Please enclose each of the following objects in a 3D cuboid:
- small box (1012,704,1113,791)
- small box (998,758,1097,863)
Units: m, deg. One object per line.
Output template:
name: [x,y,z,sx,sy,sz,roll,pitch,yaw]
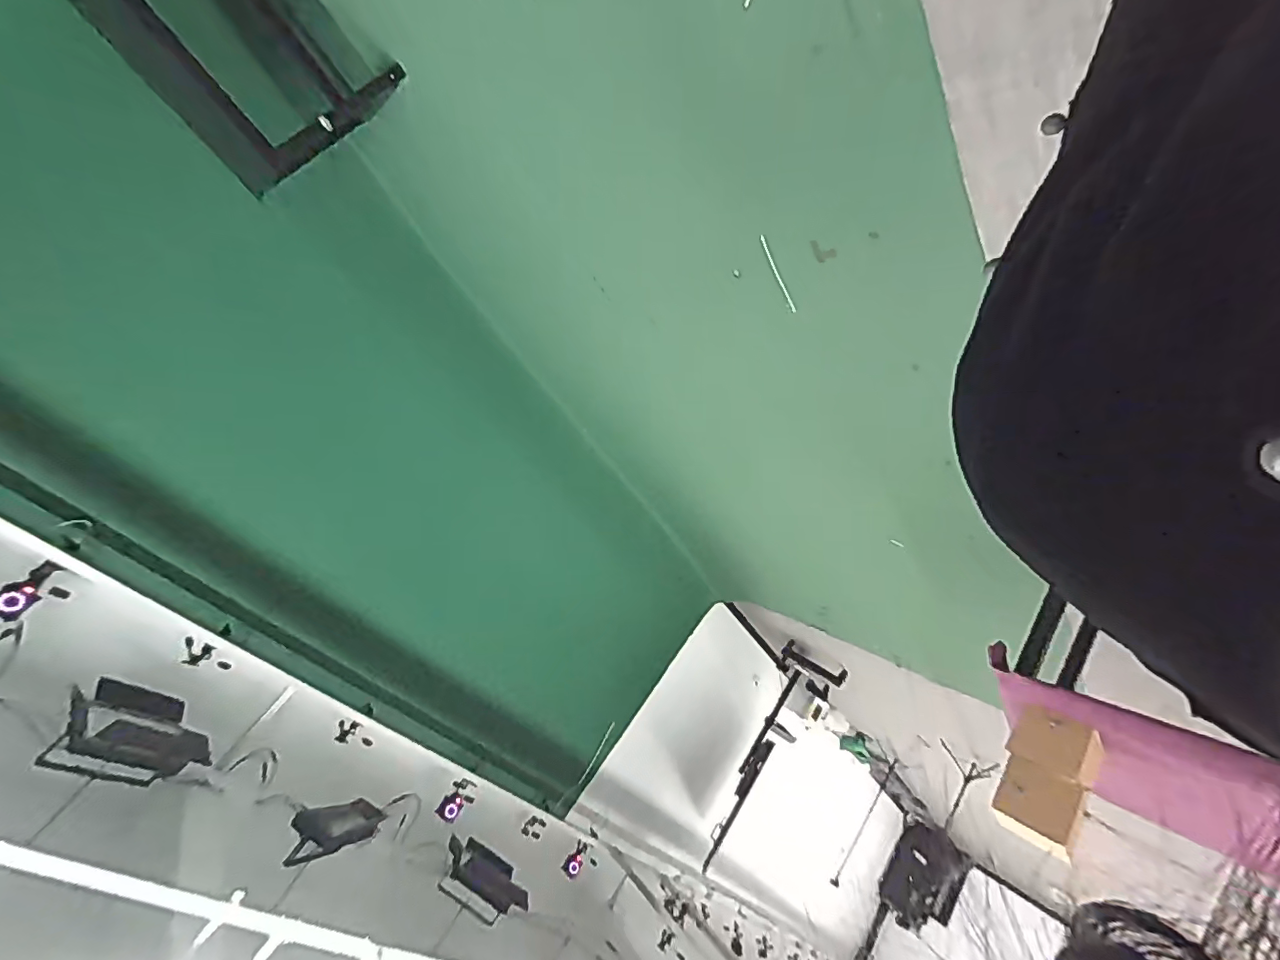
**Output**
small box: [1.215,0.776,1.555,0.168,0.176,0.179,49,159,-29]
small box: [1.129,0.904,1.498,0.179,0.176,0.168,14,150,49]
